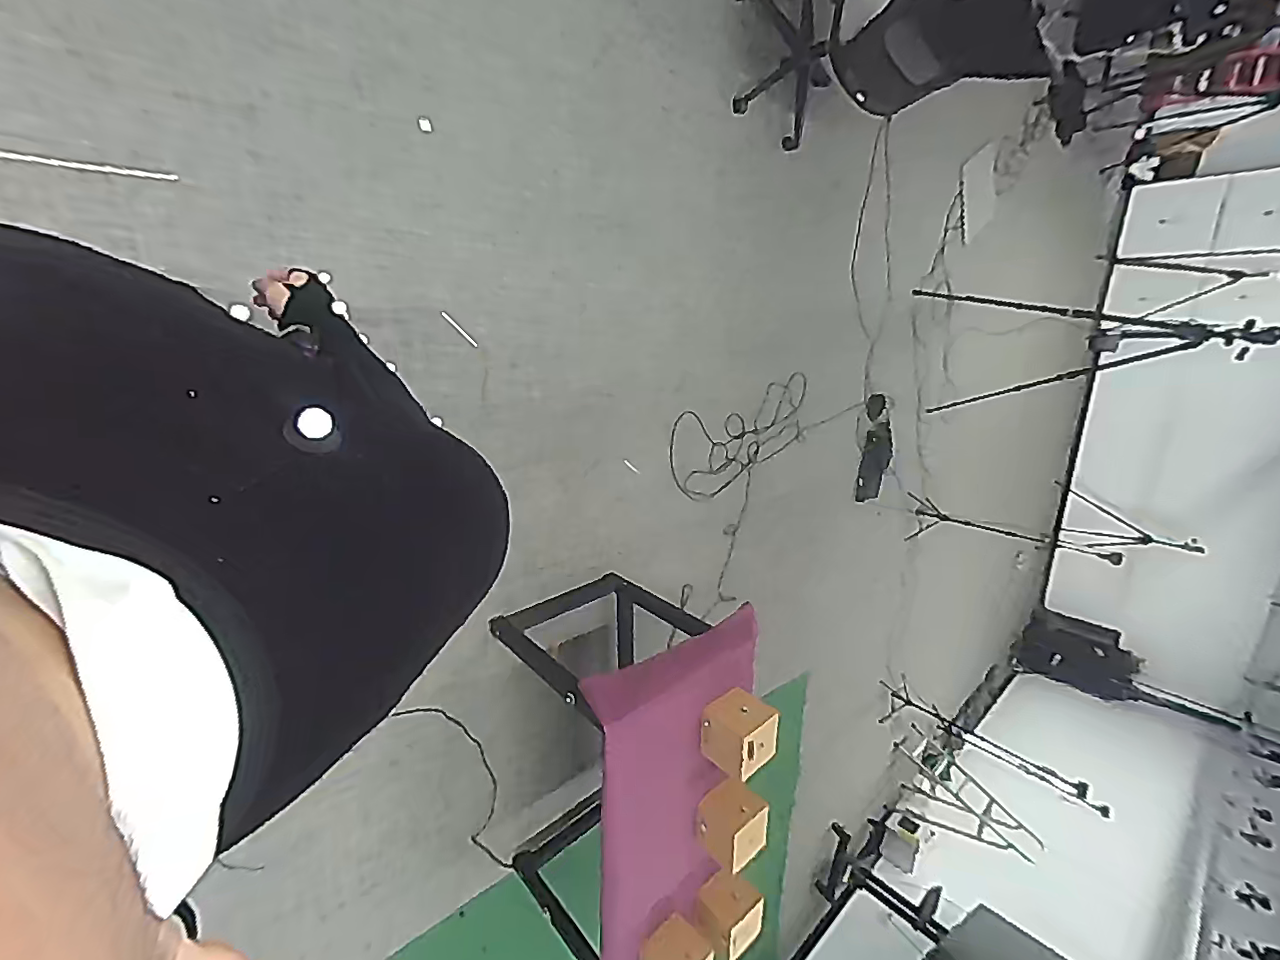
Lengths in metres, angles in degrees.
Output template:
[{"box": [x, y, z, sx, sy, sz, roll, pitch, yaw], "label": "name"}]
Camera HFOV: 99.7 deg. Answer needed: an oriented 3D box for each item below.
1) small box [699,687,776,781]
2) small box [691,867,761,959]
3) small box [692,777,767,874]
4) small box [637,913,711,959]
[{"box": [0.302, 0.786, 1.692, 0.179, 0.176, 0.168, -14, 112, -40], "label": "small box"}, {"box": [0.300, 1.517, 1.903, 0.179, 0.176, 0.168, -13, 110, -39], "label": "small box"}, {"box": [0.294, 1.131, 1.789, 0.179, 0.176, 0.168, -12, 109, -39], "label": "small box"}, {"box": [0.105, 1.558, 1.732, 0.179, 0.176, 0.168, -11, 109, -42], "label": "small box"}]
